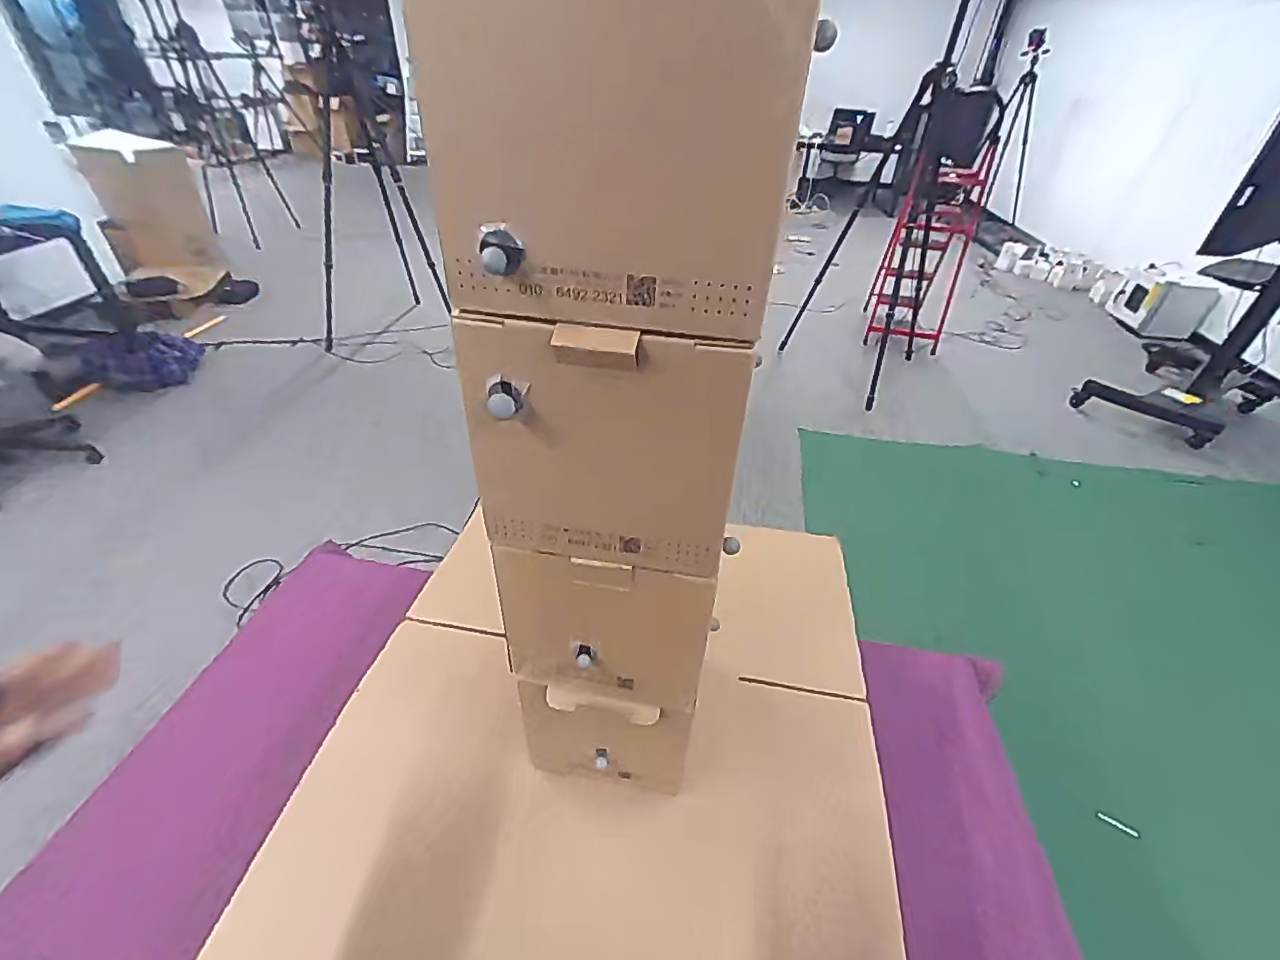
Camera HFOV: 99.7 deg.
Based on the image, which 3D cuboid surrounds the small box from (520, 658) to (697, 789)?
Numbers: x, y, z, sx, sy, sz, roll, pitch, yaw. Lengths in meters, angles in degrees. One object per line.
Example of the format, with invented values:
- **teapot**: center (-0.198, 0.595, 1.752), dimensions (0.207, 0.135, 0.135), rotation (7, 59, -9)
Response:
- **small box**: center (-0.021, 0.202, 0.599), dimensions (0.168, 0.176, 0.179), rotation (8, 37, 7)

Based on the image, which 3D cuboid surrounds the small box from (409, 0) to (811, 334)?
- **small box**: center (-0.001, -0.194, 0.307), dimensions (0.168, 0.176, 0.179), rotation (8, 36, 7)

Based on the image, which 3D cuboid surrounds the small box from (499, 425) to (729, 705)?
- **small box**: center (-0.015, 0.073, 0.501), dimensions (0.168, 0.176, 0.179), rotation (8, 37, 7)
